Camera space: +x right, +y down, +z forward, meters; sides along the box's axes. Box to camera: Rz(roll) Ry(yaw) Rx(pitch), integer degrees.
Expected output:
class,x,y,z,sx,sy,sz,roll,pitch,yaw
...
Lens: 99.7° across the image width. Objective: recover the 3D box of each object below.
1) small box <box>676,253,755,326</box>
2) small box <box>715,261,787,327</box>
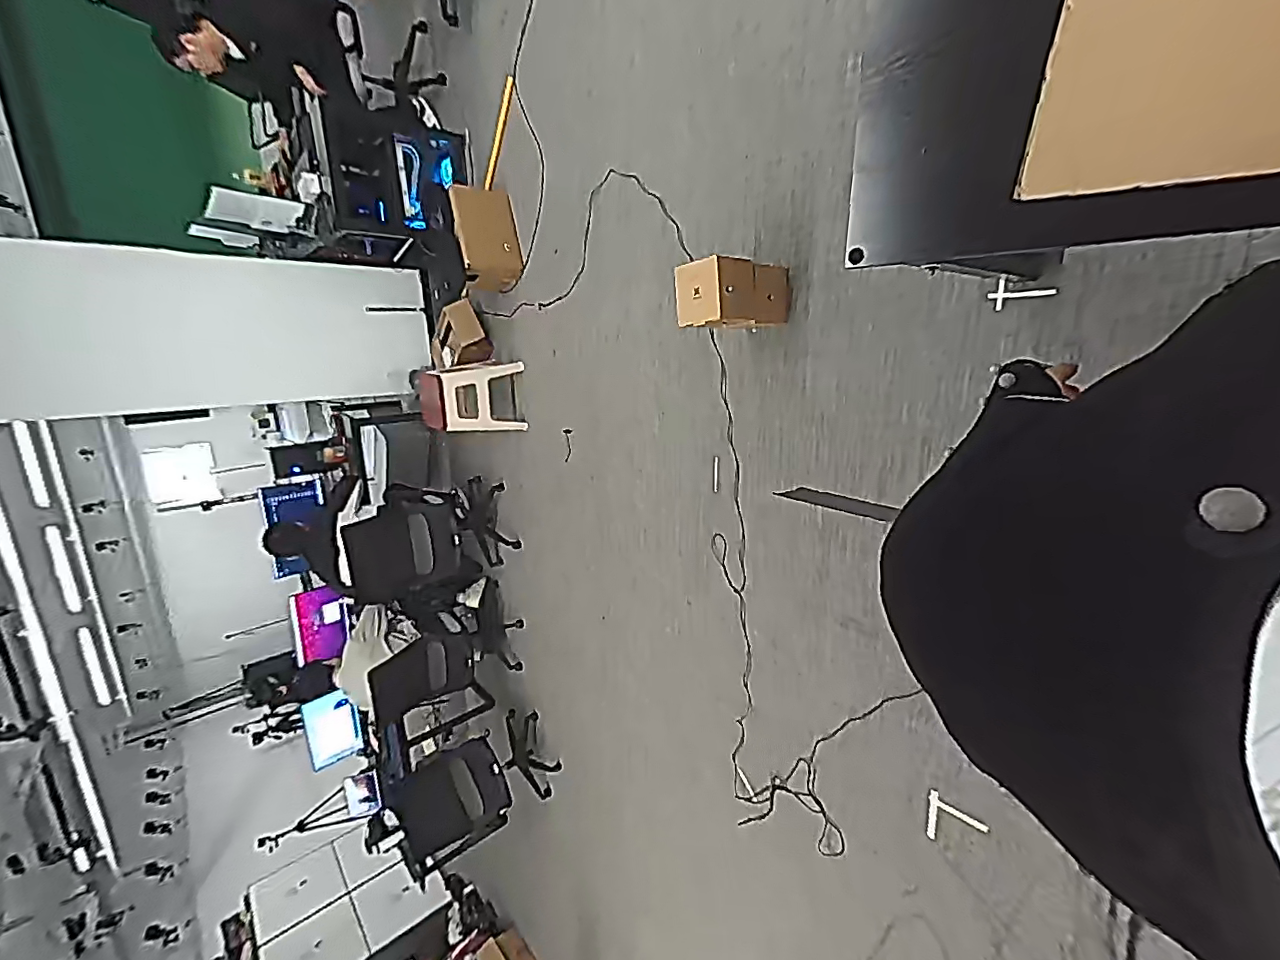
class,x,y,z,sx,sy,sz,roll,pitch,yaw
small box,0.226,-0.556,1.597,0.168,0.176,0.179,6,104,48
small box,0.349,-0.579,1.701,0.168,0.176,0.179,11,109,48
